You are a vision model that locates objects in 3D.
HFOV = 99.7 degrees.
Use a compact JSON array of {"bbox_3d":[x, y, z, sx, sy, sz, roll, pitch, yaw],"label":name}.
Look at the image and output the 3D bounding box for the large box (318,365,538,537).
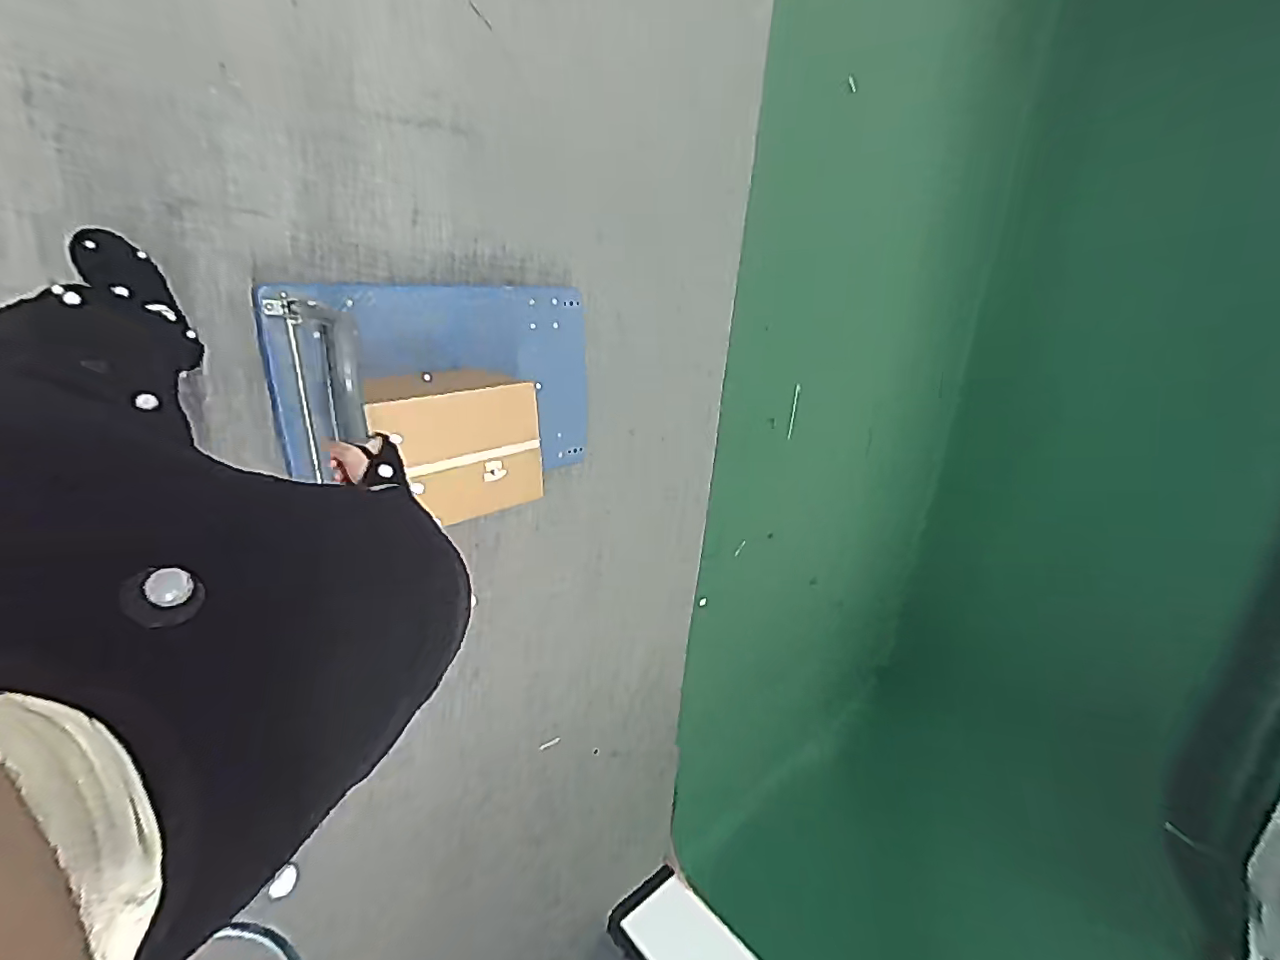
[{"bbox_3d":[-0.520,-0.102,1.359,0.408,0.320,0.320,-19,118,-40],"label":"large box"}]
